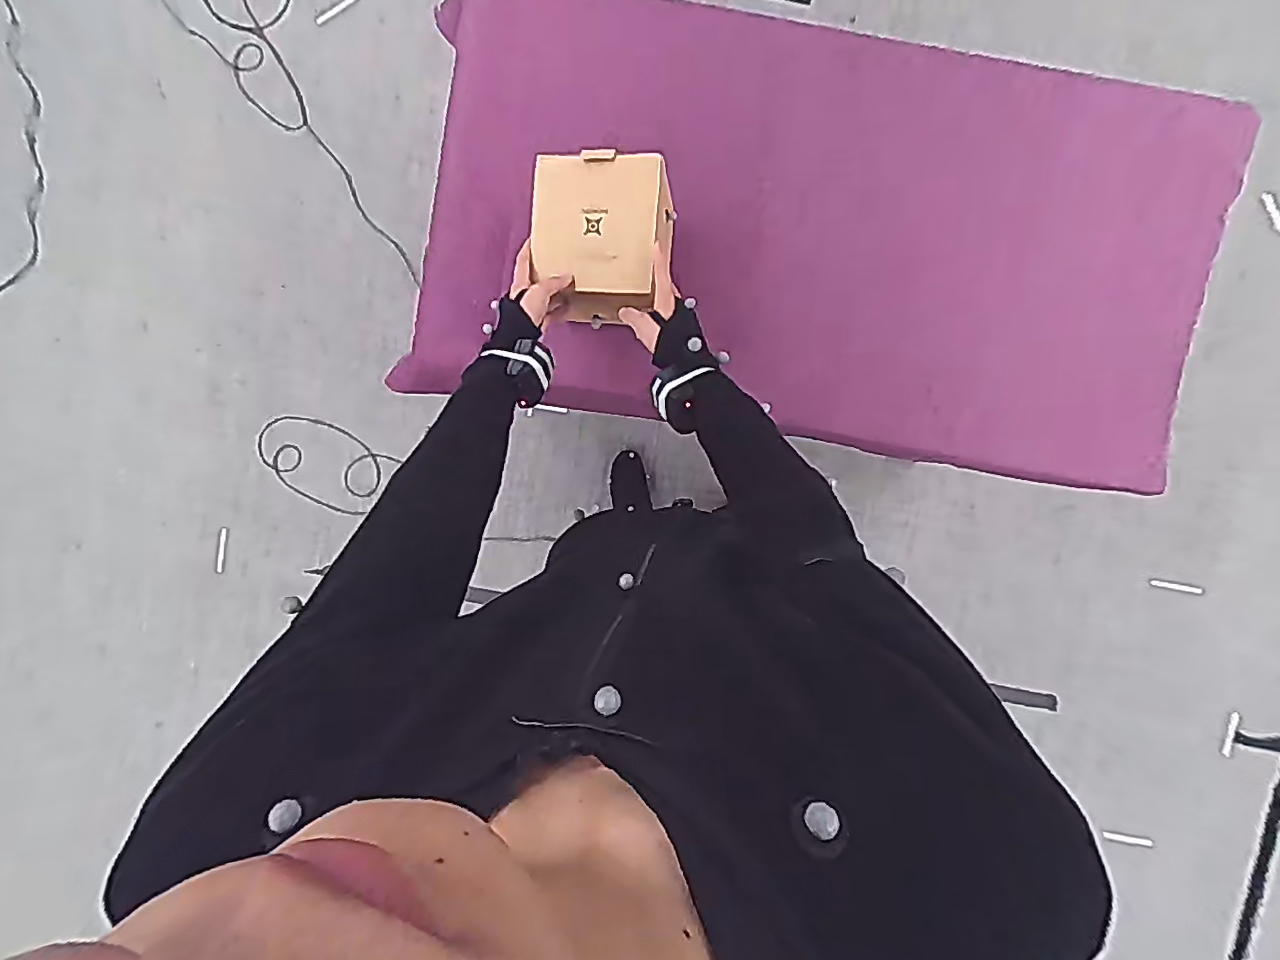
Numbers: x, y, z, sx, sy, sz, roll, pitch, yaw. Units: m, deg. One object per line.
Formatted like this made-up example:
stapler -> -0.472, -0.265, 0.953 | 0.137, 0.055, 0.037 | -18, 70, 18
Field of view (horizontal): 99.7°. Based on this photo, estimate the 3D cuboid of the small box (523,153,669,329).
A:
small box -> -0.051, -0.324, 0.759 | 0.168, 0.176, 0.179 | 6, 94, 8
